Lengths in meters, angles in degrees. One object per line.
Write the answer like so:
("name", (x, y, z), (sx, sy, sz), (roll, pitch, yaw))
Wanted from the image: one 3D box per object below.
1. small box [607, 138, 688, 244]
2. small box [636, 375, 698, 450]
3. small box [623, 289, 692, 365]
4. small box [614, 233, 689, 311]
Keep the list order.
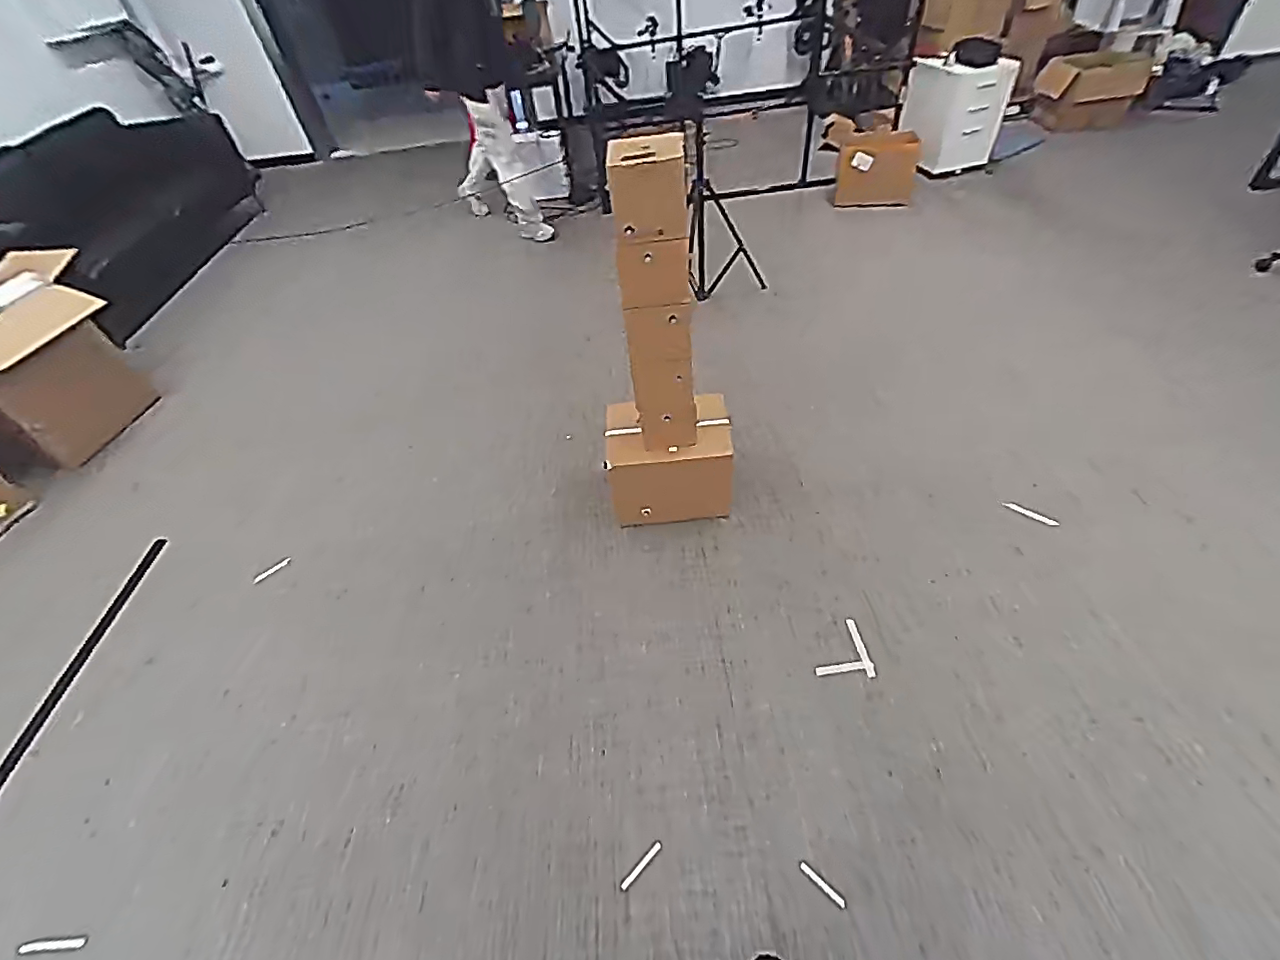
("small box", (0.020, -0.656, 1.240), (0.168, 0.176, 0.179), (-4, 47, 4))
("small box", (0.086, -0.209, 1.714), (0.179, 0.176, 0.168), (-6, 48, 1))
("small box", (0.051, -0.433, 1.476), (0.179, 0.176, 0.168), (-4, 47, 4))
("small box", (0.034, -0.544, 1.359), (0.179, 0.176, 0.168), (-4, 48, 4))
